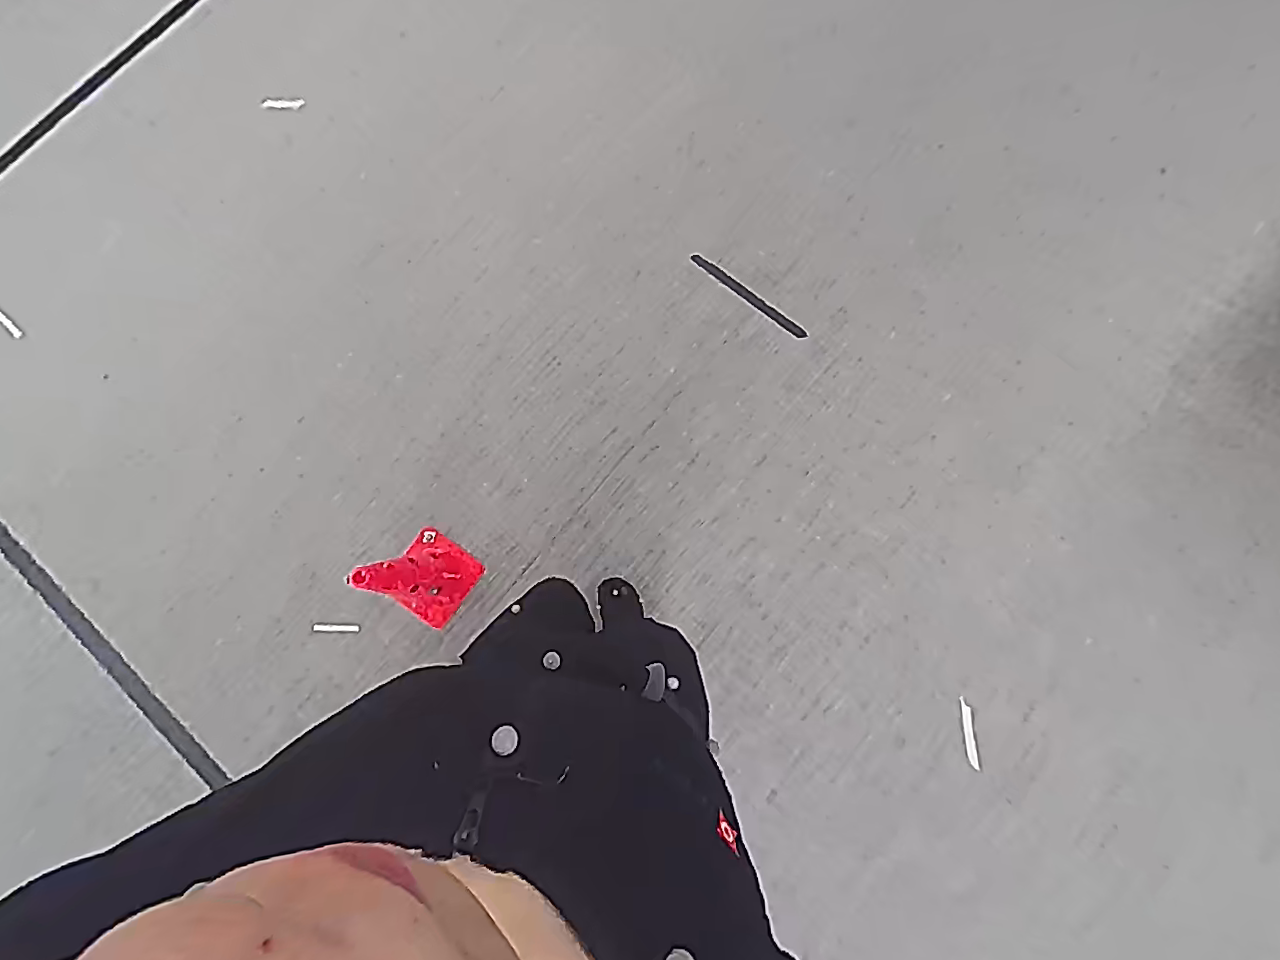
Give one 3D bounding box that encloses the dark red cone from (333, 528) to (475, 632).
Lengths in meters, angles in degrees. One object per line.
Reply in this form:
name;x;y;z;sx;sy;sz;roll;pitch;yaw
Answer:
dark red cone;-0.537;0.221;1.178;0.202;0.394;0.201;33;84;7
